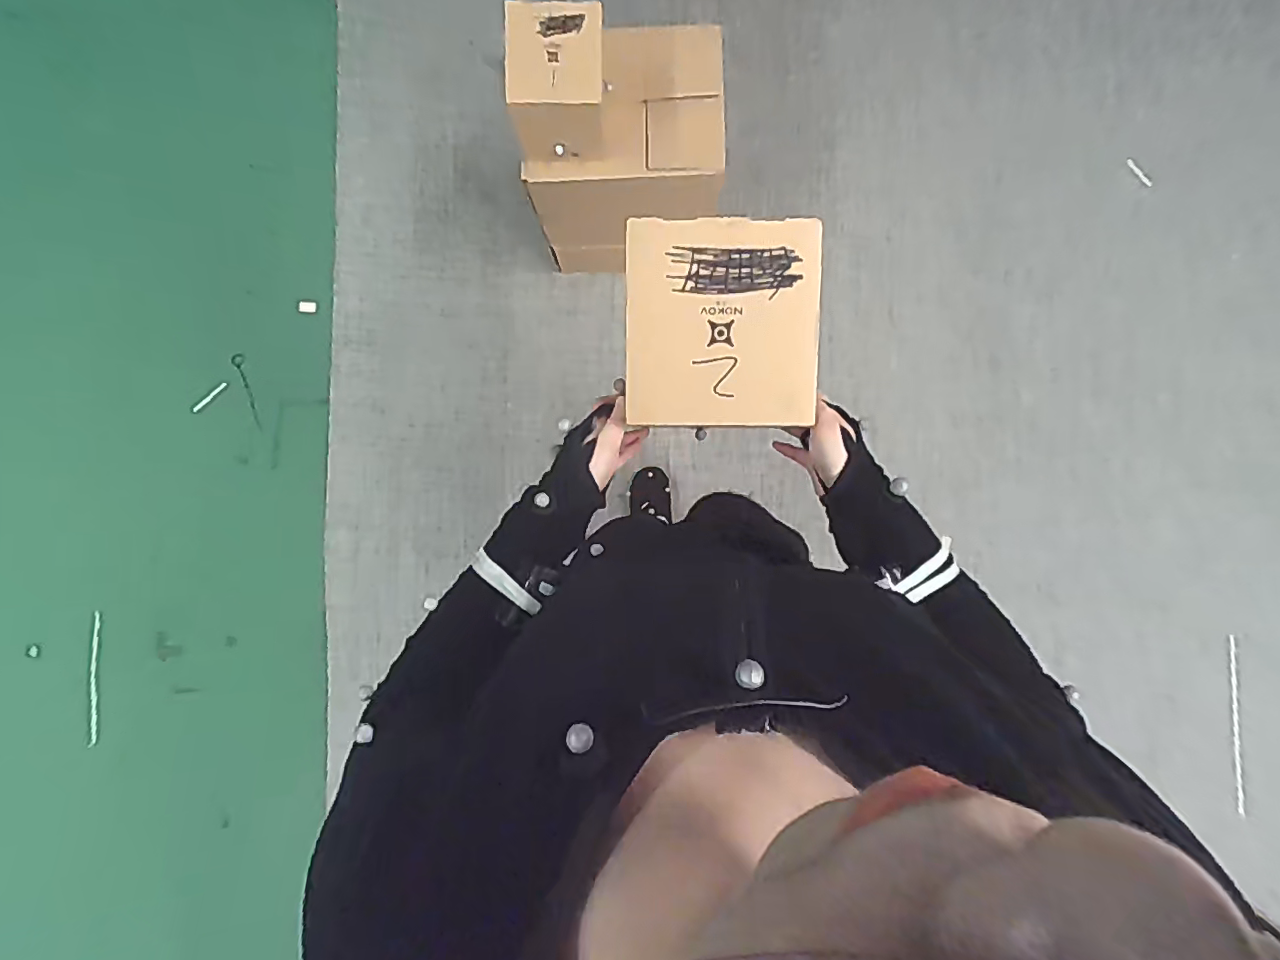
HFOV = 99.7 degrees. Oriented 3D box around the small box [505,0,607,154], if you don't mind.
[{"bbox_3d":[-0.148,-0.737,0.993,0.168,0.176,0.179,0,92,0],"label":"small box"}]
